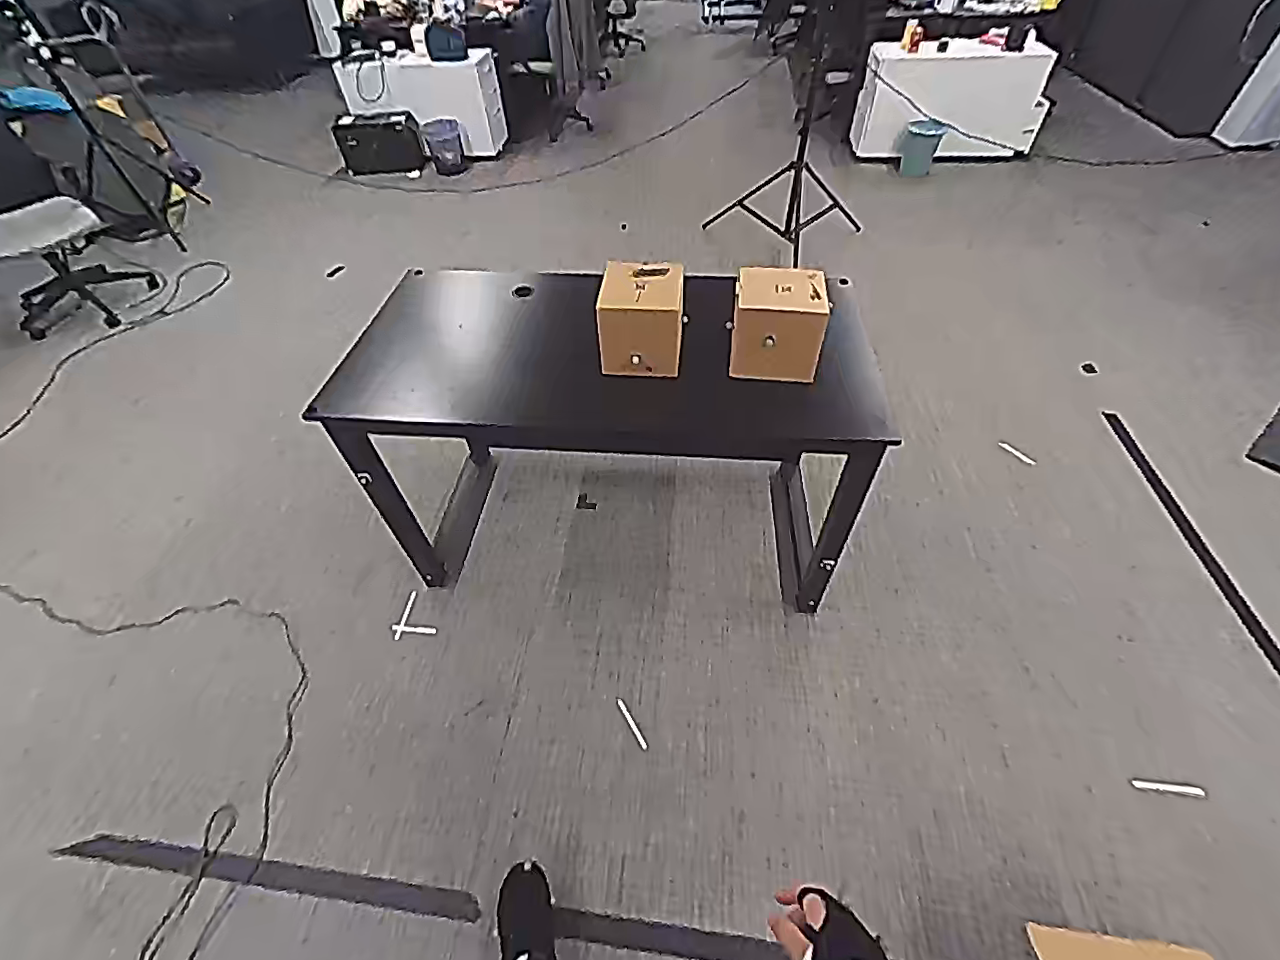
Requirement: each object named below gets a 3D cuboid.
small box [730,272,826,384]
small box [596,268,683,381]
[{"bbox_3d":[0.284,-0.320,1.141,0.179,0.176,0.168,4,49,8],"label":"small box"},{"bbox_3d":[0.004,-0.337,1.169,0.168,0.176,0.179,3,49,6],"label":"small box"}]
